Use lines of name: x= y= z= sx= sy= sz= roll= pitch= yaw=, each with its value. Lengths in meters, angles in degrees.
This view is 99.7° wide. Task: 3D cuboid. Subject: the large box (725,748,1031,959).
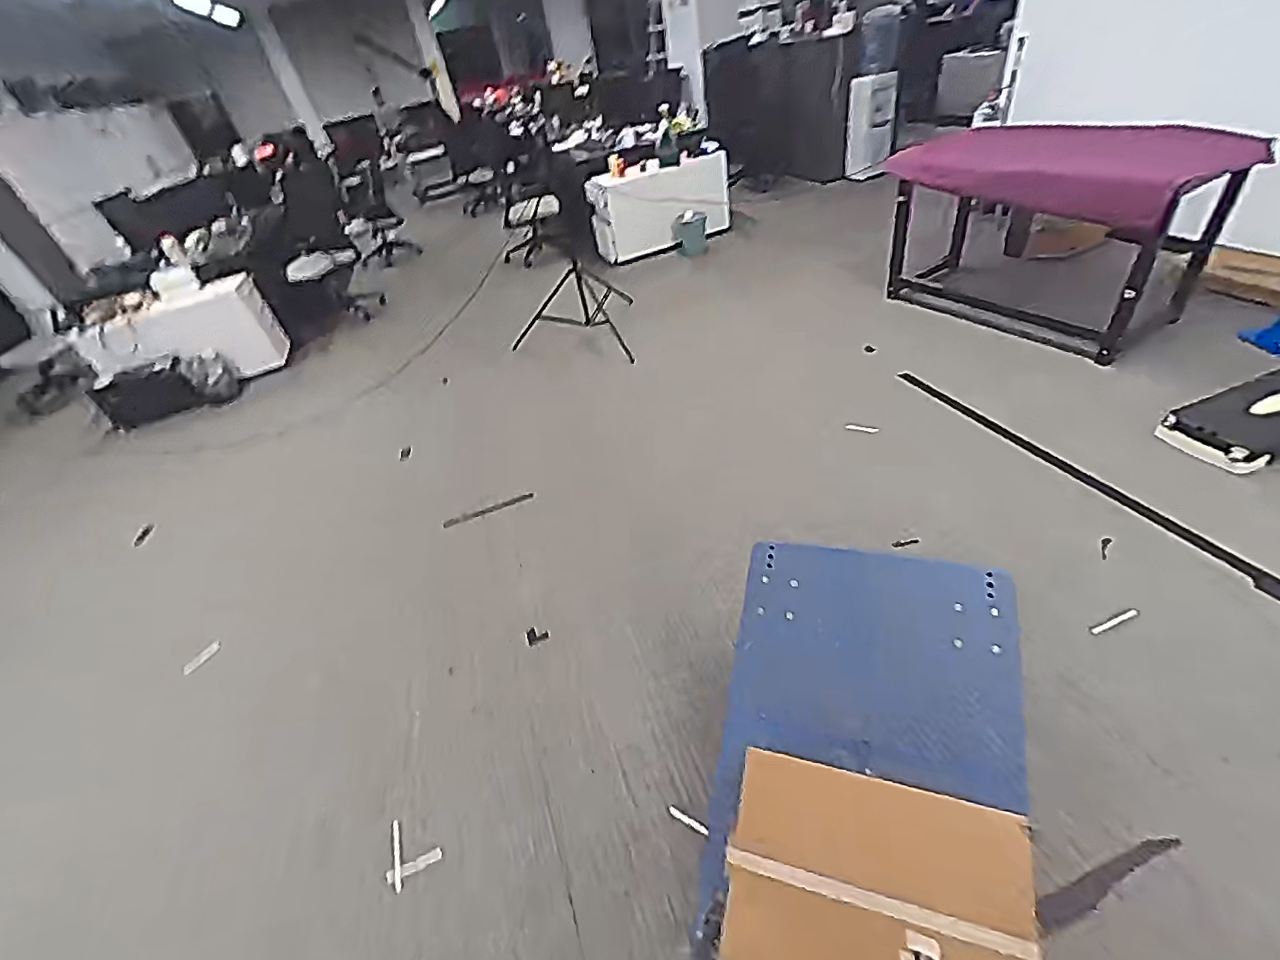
large box: x=0.378 y=0.677 z=0.921 sx=0.408 sy=0.320 sz=0.320 roll=5 pitch=64 yaw=20
